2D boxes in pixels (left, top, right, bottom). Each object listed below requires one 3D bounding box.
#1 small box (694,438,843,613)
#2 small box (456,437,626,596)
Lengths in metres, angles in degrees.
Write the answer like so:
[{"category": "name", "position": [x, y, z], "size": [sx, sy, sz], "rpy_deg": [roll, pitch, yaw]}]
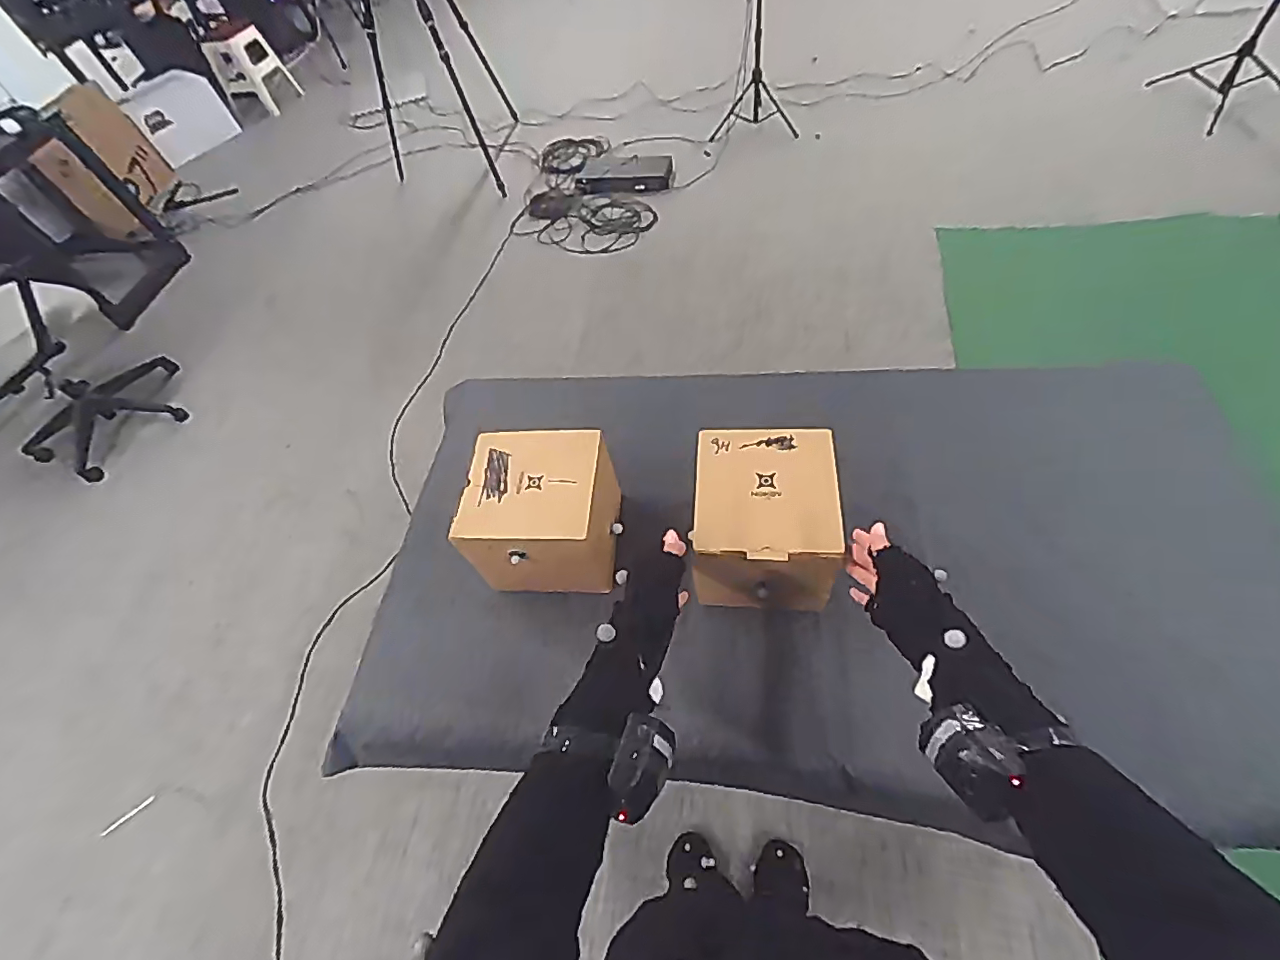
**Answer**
[{"category": "small box", "position": [0.163, 0.064, 0.707], "size": [0.168, 0.176, 0.179], "rpy_deg": [1, 57, 10]}, {"category": "small box", "position": [-0.125, 0.056, 0.761], "size": [0.179, 0.176, 0.168], "rpy_deg": [0, 56, 9]}]
